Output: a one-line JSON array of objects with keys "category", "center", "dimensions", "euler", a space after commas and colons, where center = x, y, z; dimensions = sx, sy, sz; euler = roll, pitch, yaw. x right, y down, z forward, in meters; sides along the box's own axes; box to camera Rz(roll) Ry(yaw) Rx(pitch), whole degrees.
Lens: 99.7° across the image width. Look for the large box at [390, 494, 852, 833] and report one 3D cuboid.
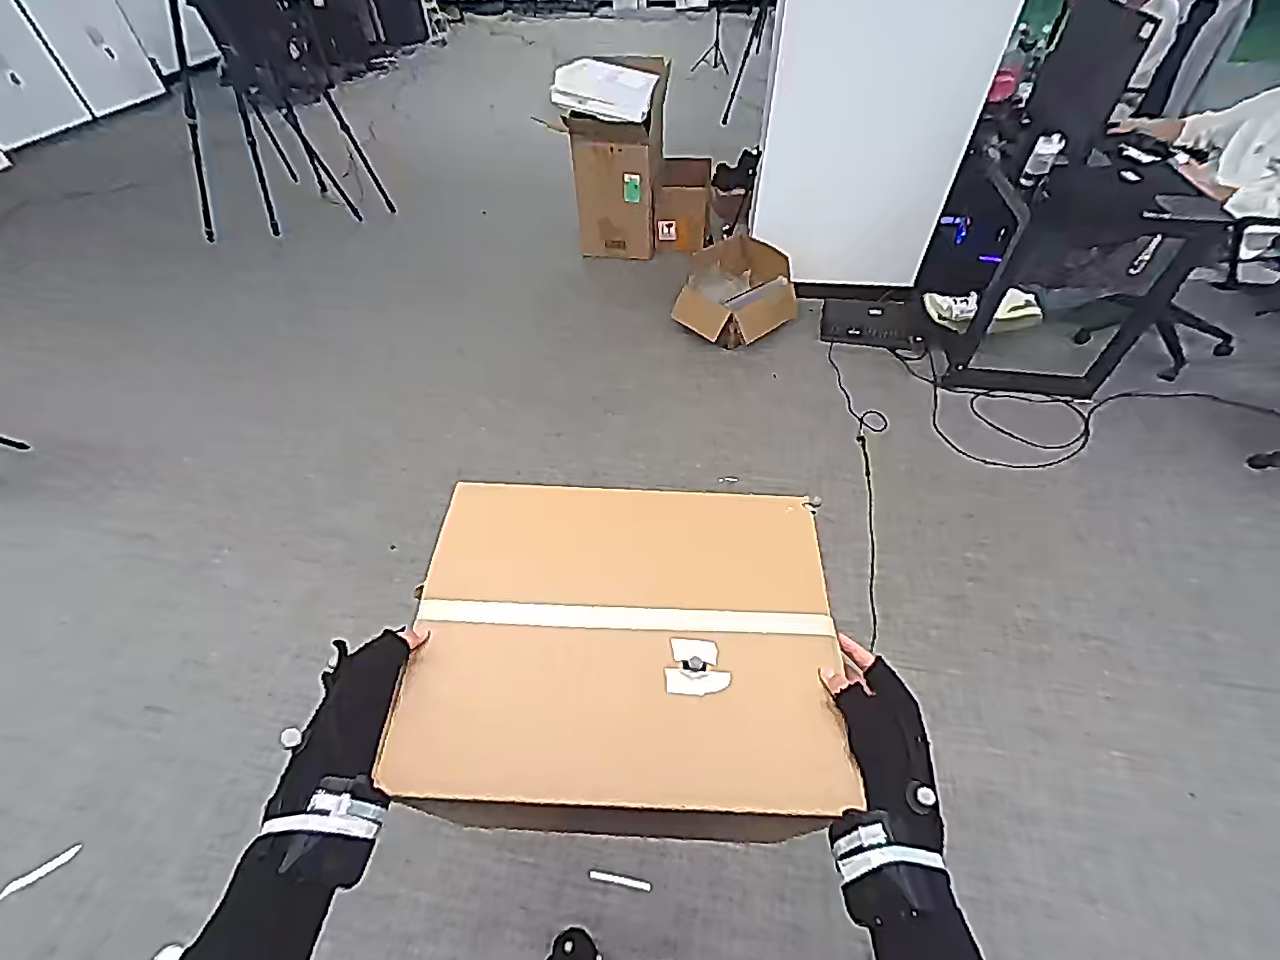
[{"category": "large box", "center": [-0.017, 0.234, 0.664], "dimensions": [0.408, 0.320, 0.320], "euler": [3, 54, 0]}]
